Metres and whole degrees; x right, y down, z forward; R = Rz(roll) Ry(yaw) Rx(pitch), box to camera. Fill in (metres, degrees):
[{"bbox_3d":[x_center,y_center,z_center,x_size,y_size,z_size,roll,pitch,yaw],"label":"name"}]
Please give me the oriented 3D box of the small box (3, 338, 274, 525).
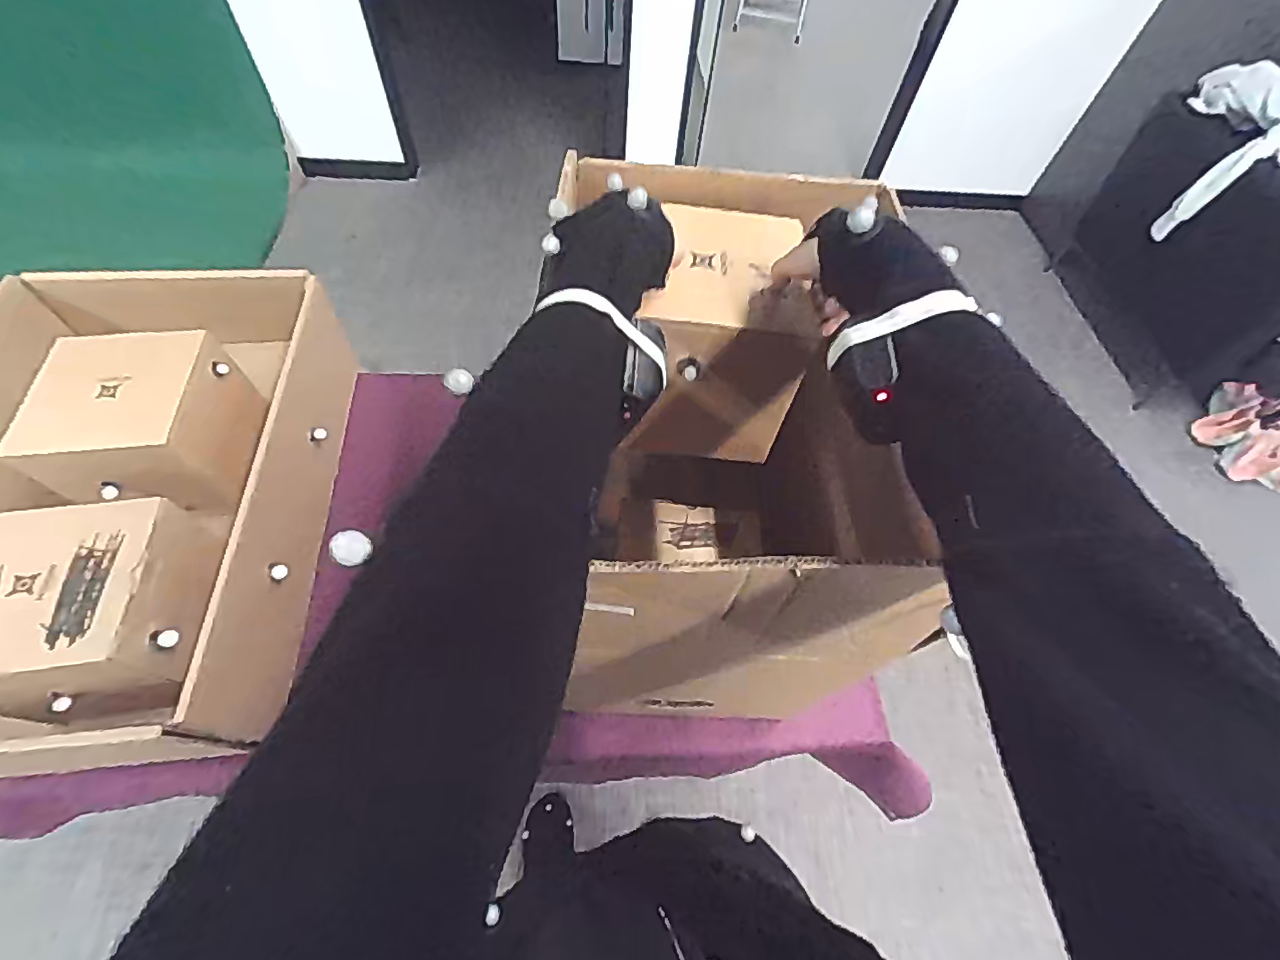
[{"bbox_3d":[-0.603,-0.053,0.685,0.168,0.176,0.179,-6,59,-7],"label":"small box"}]
